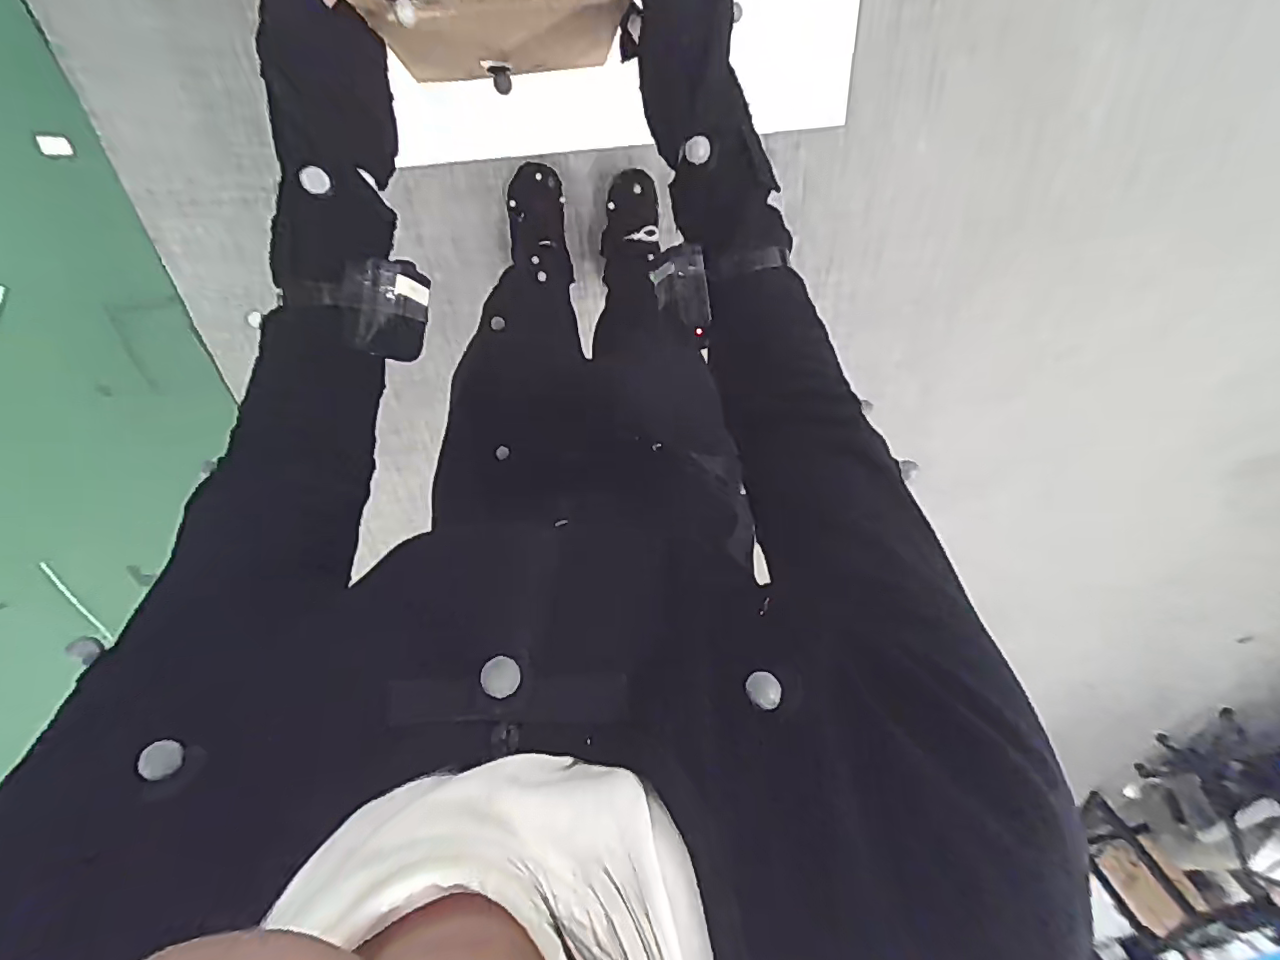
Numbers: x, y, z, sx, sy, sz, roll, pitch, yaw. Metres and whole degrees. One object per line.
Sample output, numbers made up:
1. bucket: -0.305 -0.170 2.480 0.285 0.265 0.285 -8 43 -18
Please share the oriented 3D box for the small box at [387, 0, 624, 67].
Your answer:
1. small box: -0.105 -0.406 0.354 0.168 0.176 0.179 -12 117 -5
